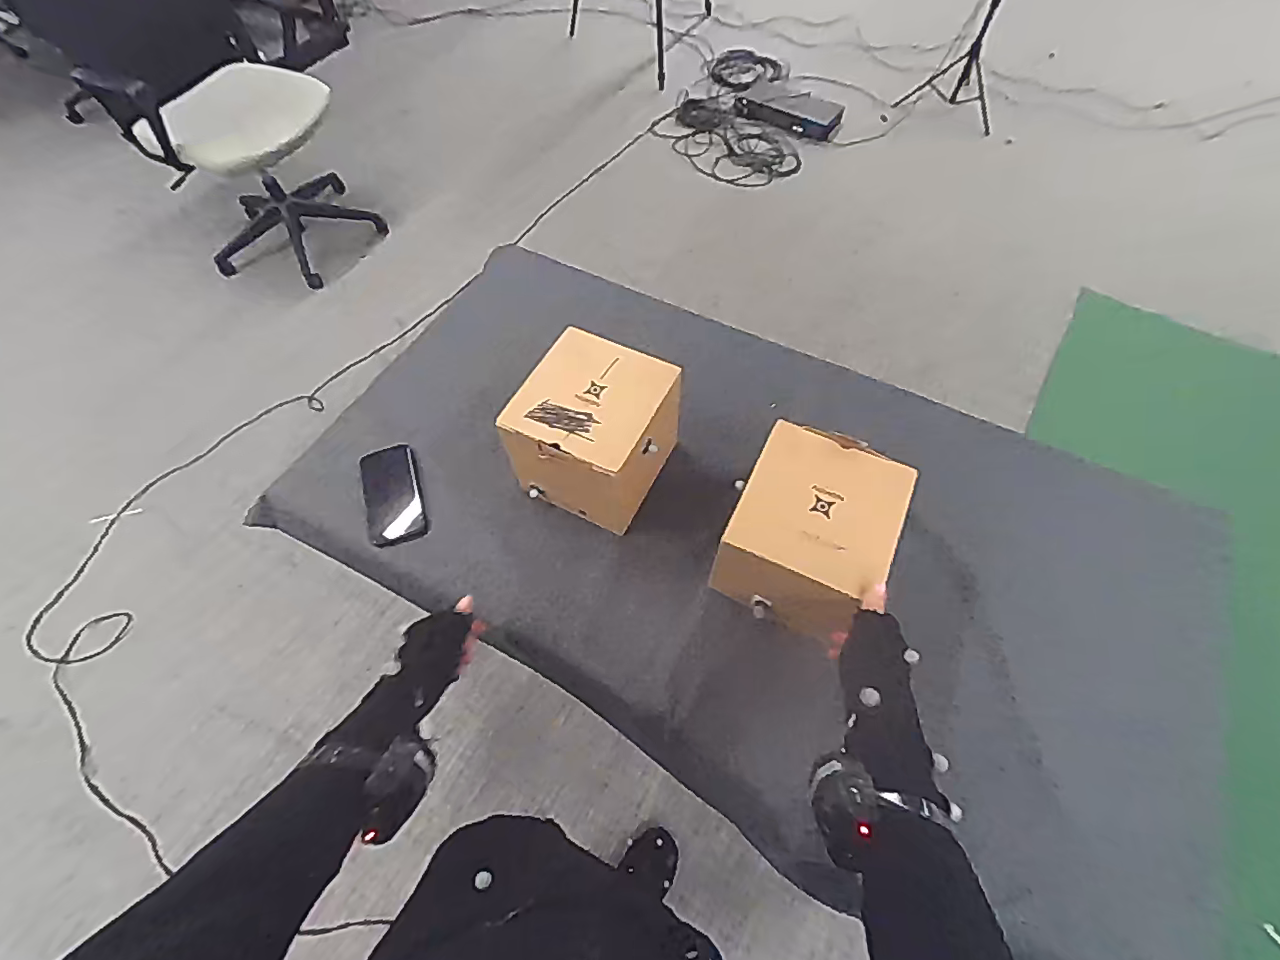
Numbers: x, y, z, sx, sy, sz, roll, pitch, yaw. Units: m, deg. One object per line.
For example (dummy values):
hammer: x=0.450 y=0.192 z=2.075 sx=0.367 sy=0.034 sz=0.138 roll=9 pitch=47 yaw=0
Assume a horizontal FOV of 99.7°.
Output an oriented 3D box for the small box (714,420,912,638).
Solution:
small box: x=0.198 y=0.065 z=0.657 sx=0.168 sy=0.176 sz=0.179 roll=23 pitch=64 yaw=14

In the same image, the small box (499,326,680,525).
small box: x=-0.058 y=-0.066 z=0.728 sx=0.168 sy=0.176 sz=0.179 roll=24 pitch=63 yaw=13
